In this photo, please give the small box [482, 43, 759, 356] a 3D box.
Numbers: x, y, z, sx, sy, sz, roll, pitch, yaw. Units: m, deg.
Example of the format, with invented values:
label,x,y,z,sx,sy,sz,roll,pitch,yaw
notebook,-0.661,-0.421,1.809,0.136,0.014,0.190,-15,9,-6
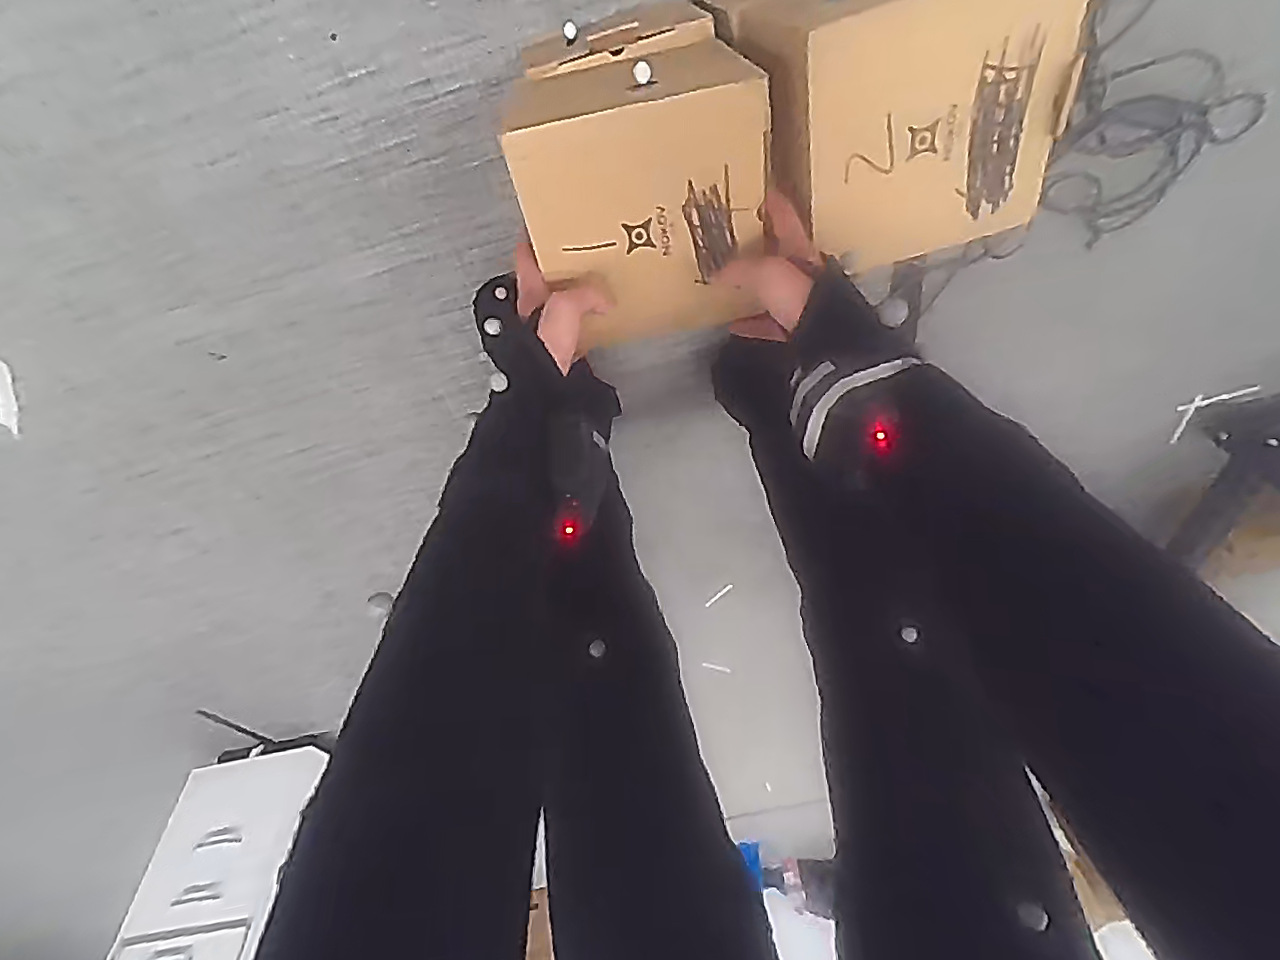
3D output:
label,x,y,z,sx,sy,sz,roll,pitch,yaw
small box,-0.009,-0.229,0.442,0.179,0.176,0.168,-10,135,5
